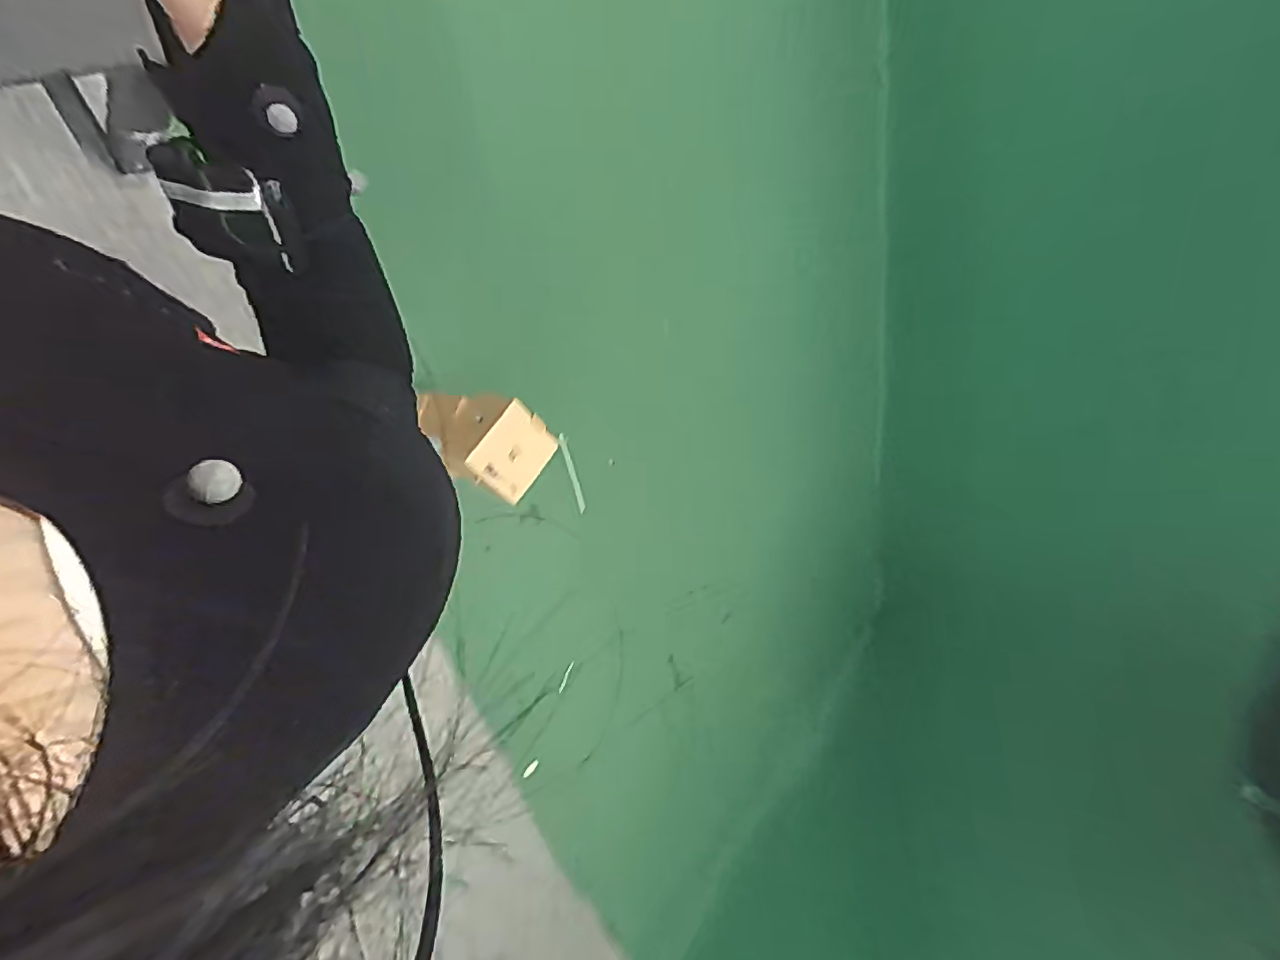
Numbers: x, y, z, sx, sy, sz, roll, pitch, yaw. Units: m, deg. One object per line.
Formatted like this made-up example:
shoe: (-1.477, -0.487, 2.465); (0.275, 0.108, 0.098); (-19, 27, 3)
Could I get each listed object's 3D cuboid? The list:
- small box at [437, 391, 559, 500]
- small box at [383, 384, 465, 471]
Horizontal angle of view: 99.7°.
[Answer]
small box: (-0.327, -0.085, 1.232); (0.179, 0.176, 0.168); (-56, 134, -17)
small box: (-0.564, -0.142, 1.453); (0.168, 0.176, 0.179); (23, 86, -46)
